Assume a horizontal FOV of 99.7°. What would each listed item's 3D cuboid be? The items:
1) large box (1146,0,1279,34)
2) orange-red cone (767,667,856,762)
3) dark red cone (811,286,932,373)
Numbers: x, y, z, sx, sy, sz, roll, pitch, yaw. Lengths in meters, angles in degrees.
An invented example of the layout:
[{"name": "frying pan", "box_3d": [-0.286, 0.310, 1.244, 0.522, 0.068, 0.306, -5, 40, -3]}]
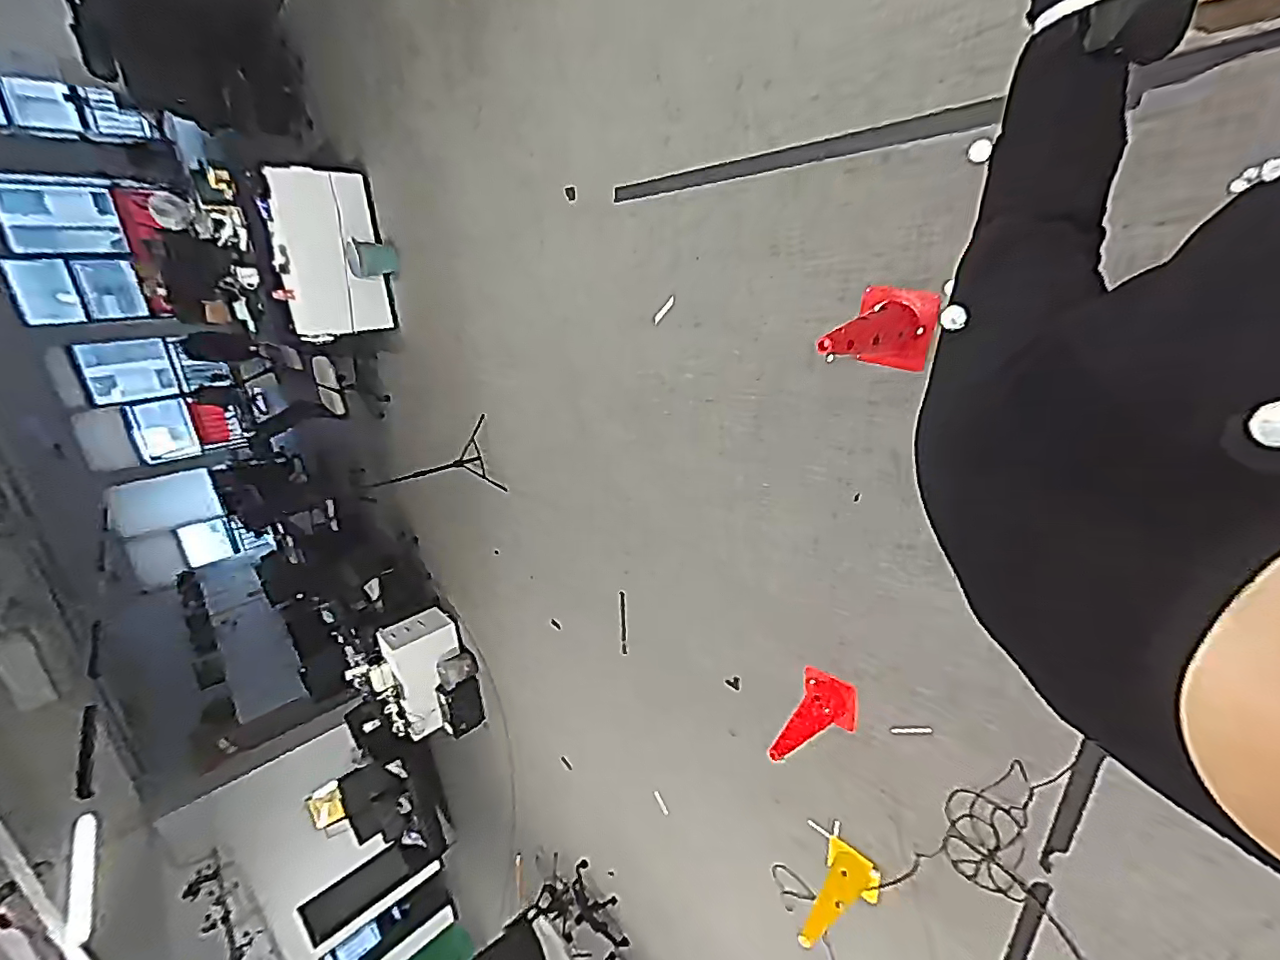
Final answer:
[{"name": "large box", "box_3d": [0.550, -0.464, 0.242, 0.408, 0.320, 0.320, 19, 129, 44]}, {"name": "orange-red cone", "box_3d": [0.554, 0.837, 1.839, 0.198, 0.360, 0.199, 17, 120, 46]}, {"name": "dark red cone", "box_3d": [0.526, -0.349, 1.306, 0.201, 0.394, 0.202, 25, 124, 40]}]
